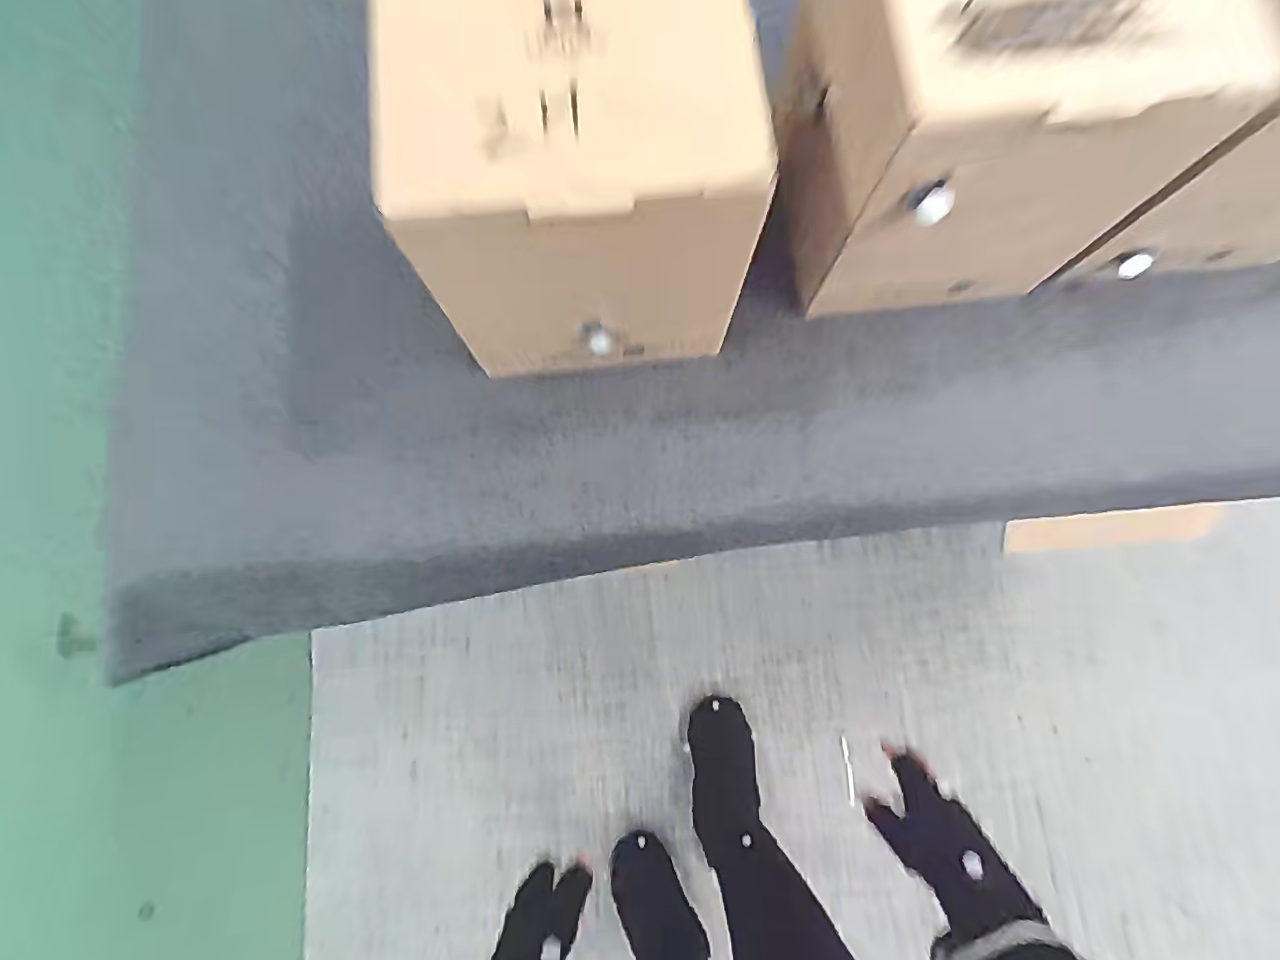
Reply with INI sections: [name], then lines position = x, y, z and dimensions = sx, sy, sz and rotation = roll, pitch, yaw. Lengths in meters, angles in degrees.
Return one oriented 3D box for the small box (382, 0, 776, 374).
[small box]
position = -0.032, -0.181, 0.319
dimensions = 0.168, 0.176, 0.179
rotation = -6, 79, -1
